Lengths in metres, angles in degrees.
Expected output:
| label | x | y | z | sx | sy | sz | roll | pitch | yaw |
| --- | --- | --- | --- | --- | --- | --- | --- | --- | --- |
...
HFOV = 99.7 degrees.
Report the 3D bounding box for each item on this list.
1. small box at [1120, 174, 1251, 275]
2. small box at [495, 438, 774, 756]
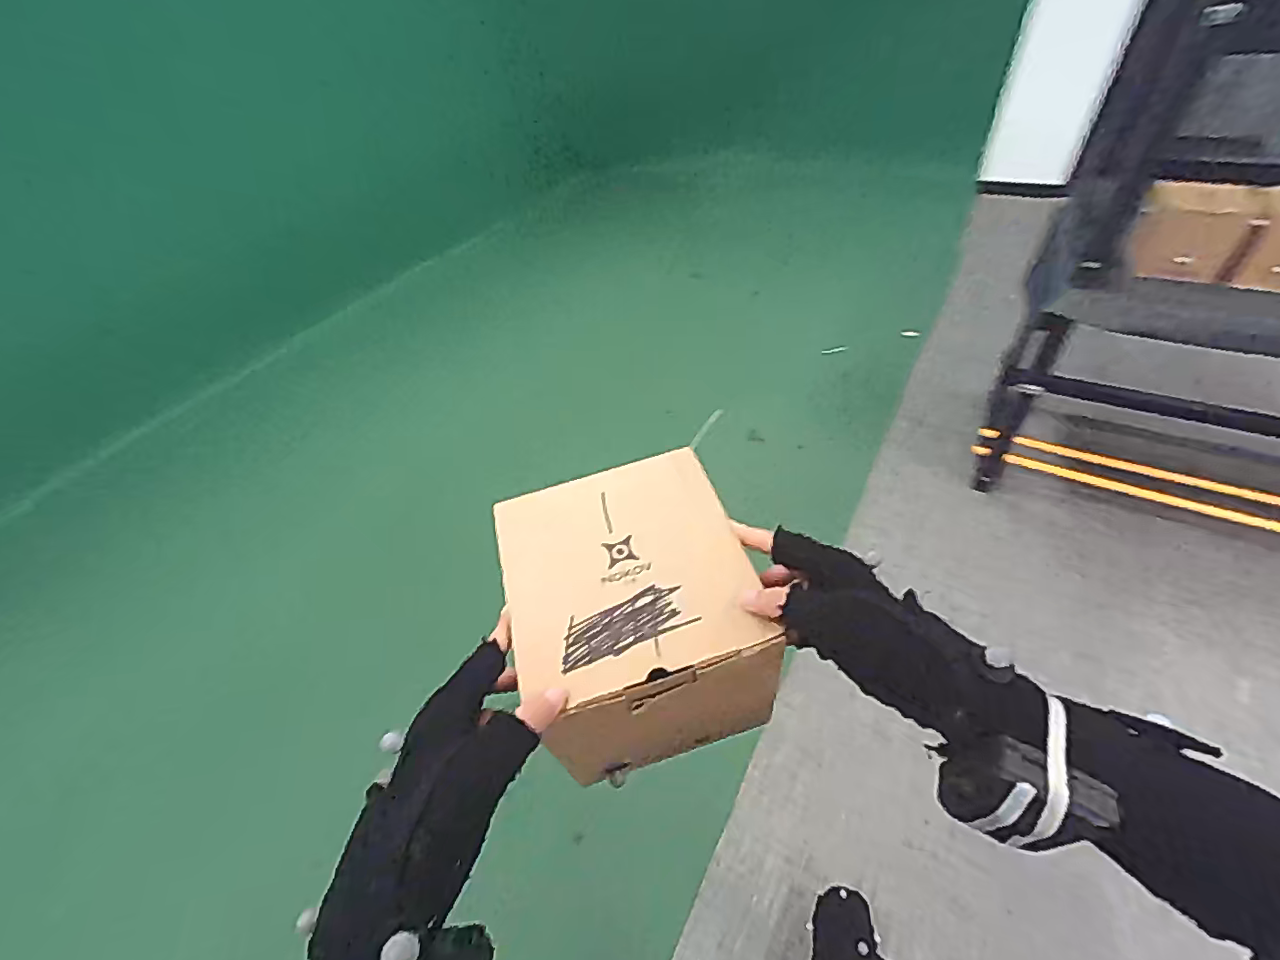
| label | x | y | z | sx | sy | sz | roll | pitch | yaw |
| --- | --- | --- | --- | --- | --- | --- | --- | --- | --- |
| small box | 1.321 | -0.628 | 1.327 | 0.168 | 0.176 | 0.179 | 17 | 51 | 23 |
| small box | -0.004 | 0.101 | 0.436 | 0.168 | 0.176 | 0.179 | -16 | 49 | -5 |
